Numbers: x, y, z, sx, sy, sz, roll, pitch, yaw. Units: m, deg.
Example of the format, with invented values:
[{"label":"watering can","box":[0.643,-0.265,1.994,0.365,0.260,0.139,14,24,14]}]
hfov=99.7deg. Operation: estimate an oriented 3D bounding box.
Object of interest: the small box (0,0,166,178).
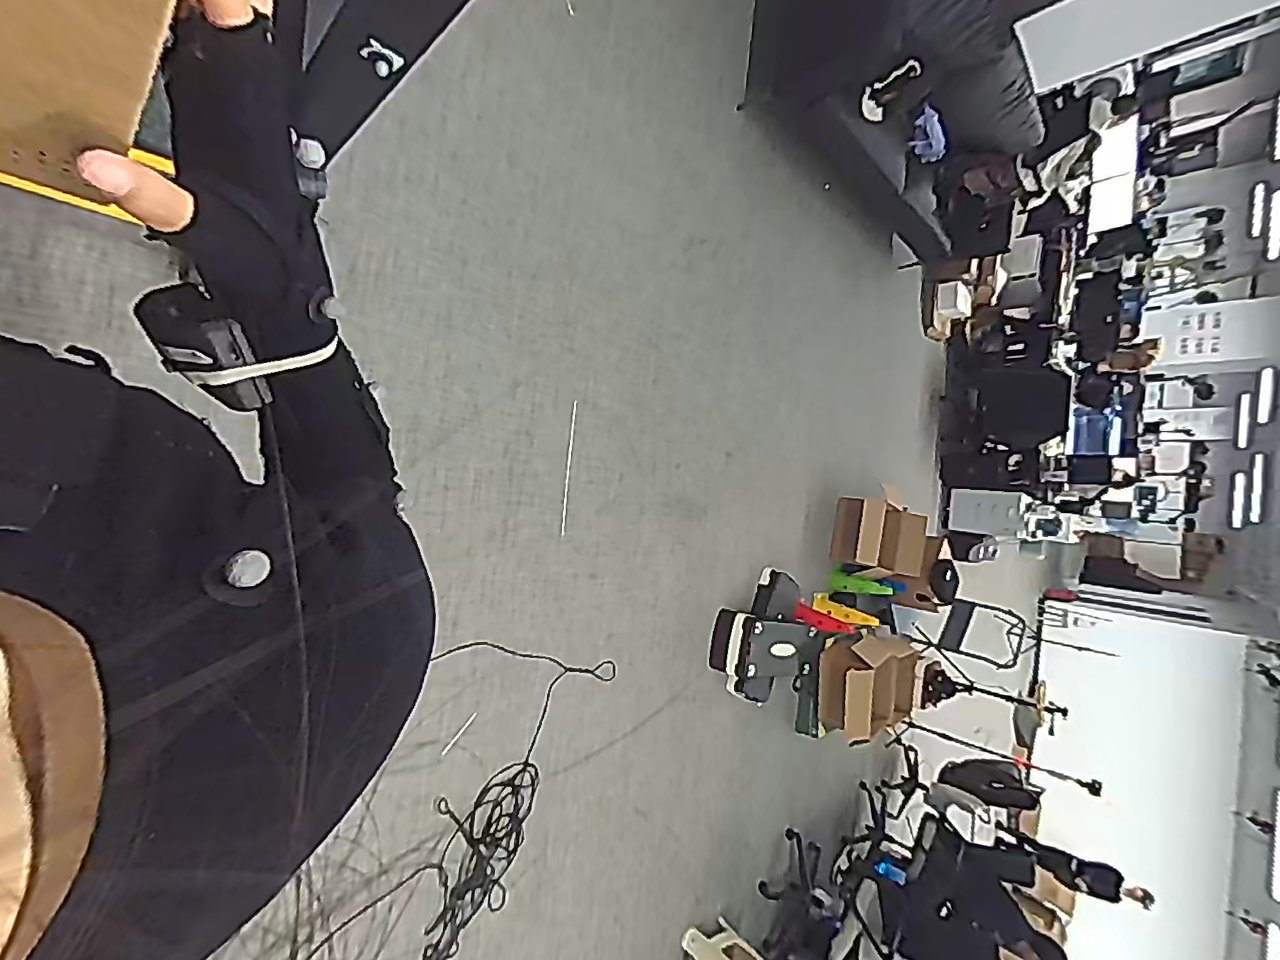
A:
[{"label":"small box","box":[-0.226,-0.221,0.136,0.168,0.176,0.179,7,79,-50]}]
